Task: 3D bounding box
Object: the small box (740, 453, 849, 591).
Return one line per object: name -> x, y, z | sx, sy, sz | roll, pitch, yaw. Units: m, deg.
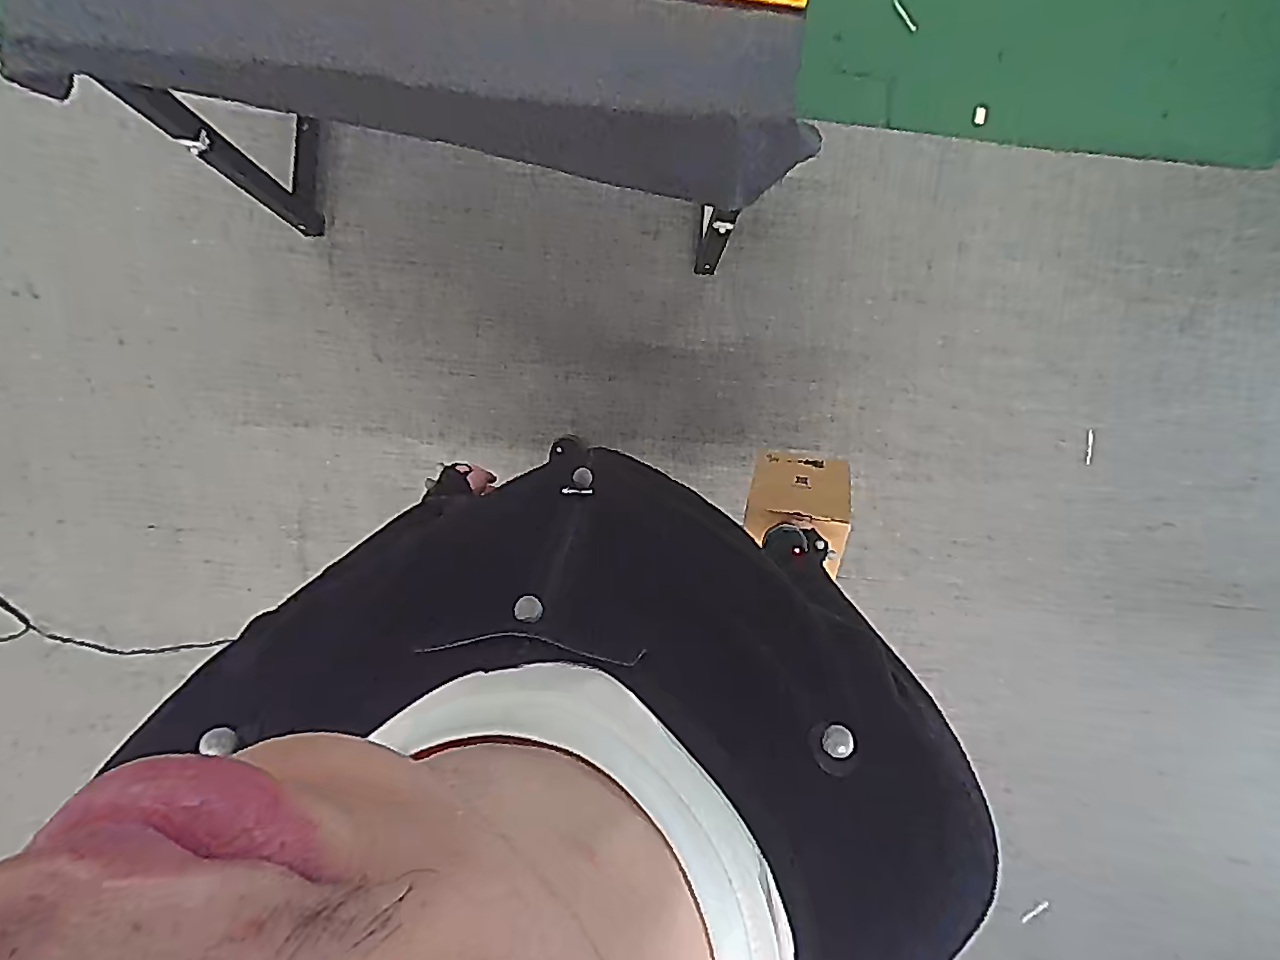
small box -> 0.277, 0.075, 0.980 | 0.168, 0.179, 0.176 | 9, 128, 13
